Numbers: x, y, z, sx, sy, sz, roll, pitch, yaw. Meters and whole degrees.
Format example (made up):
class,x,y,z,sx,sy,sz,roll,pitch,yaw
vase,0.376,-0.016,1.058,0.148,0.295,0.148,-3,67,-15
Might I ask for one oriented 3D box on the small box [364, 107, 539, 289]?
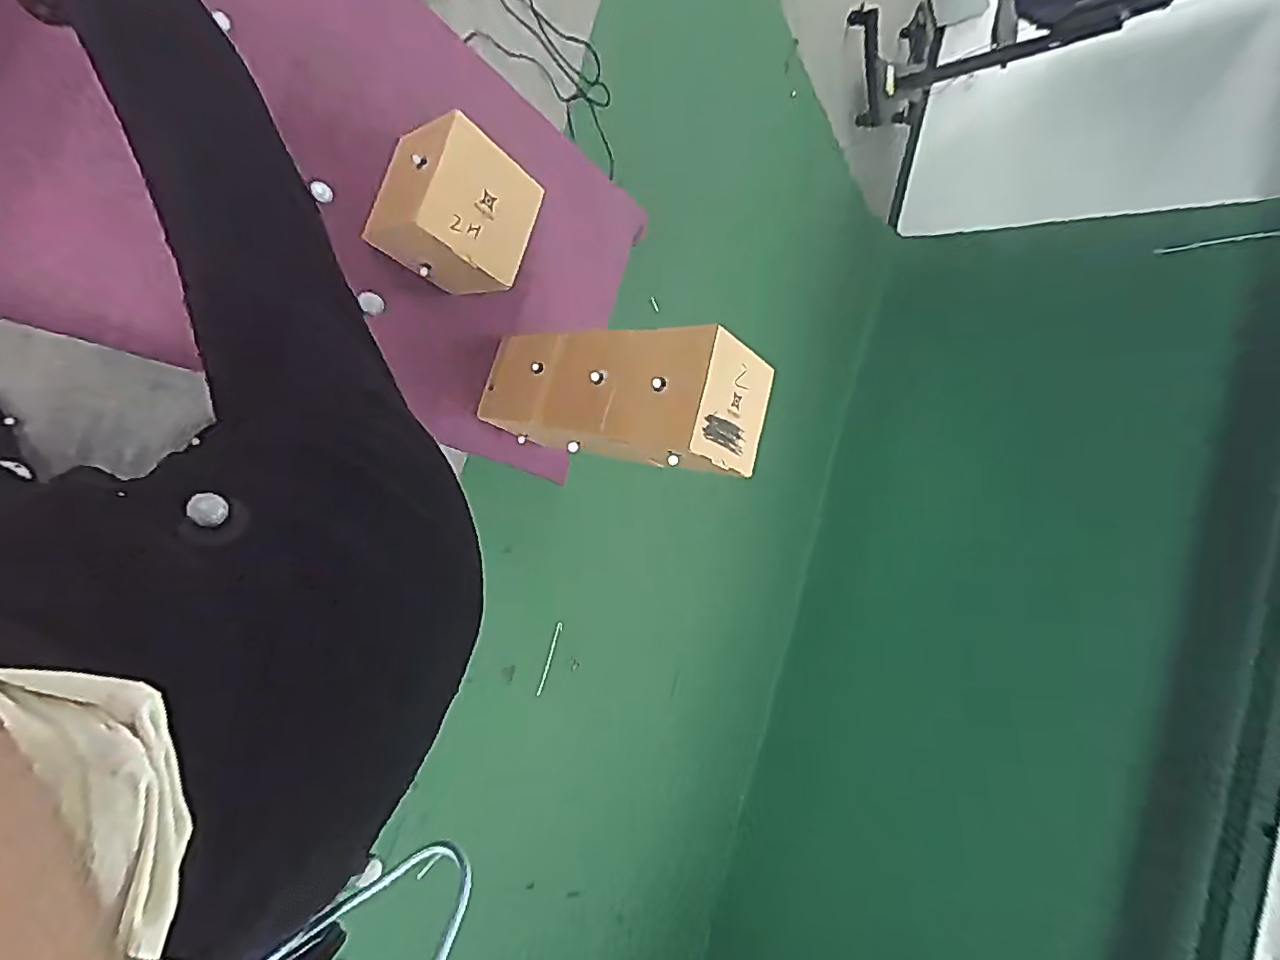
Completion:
class,x,y,z,sx,sy,sz,roll,pitch,yaw
small box,-0.291,-0.417,0.832,0.168,0.176,0.179,25,81,-50

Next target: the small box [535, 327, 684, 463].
class,x,y,z,sx,sy,sz,roll,pitch,yaw
small box,-0.054,-0.144,0.927,0.168,0.176,0.179,24,81,-48

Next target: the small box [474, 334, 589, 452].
class,x,y,z,sx,sy,sz,roll,pitch,yaw
small box,-0.180,-0.166,1.029,0.179,0.176,0.168,24,80,-50
